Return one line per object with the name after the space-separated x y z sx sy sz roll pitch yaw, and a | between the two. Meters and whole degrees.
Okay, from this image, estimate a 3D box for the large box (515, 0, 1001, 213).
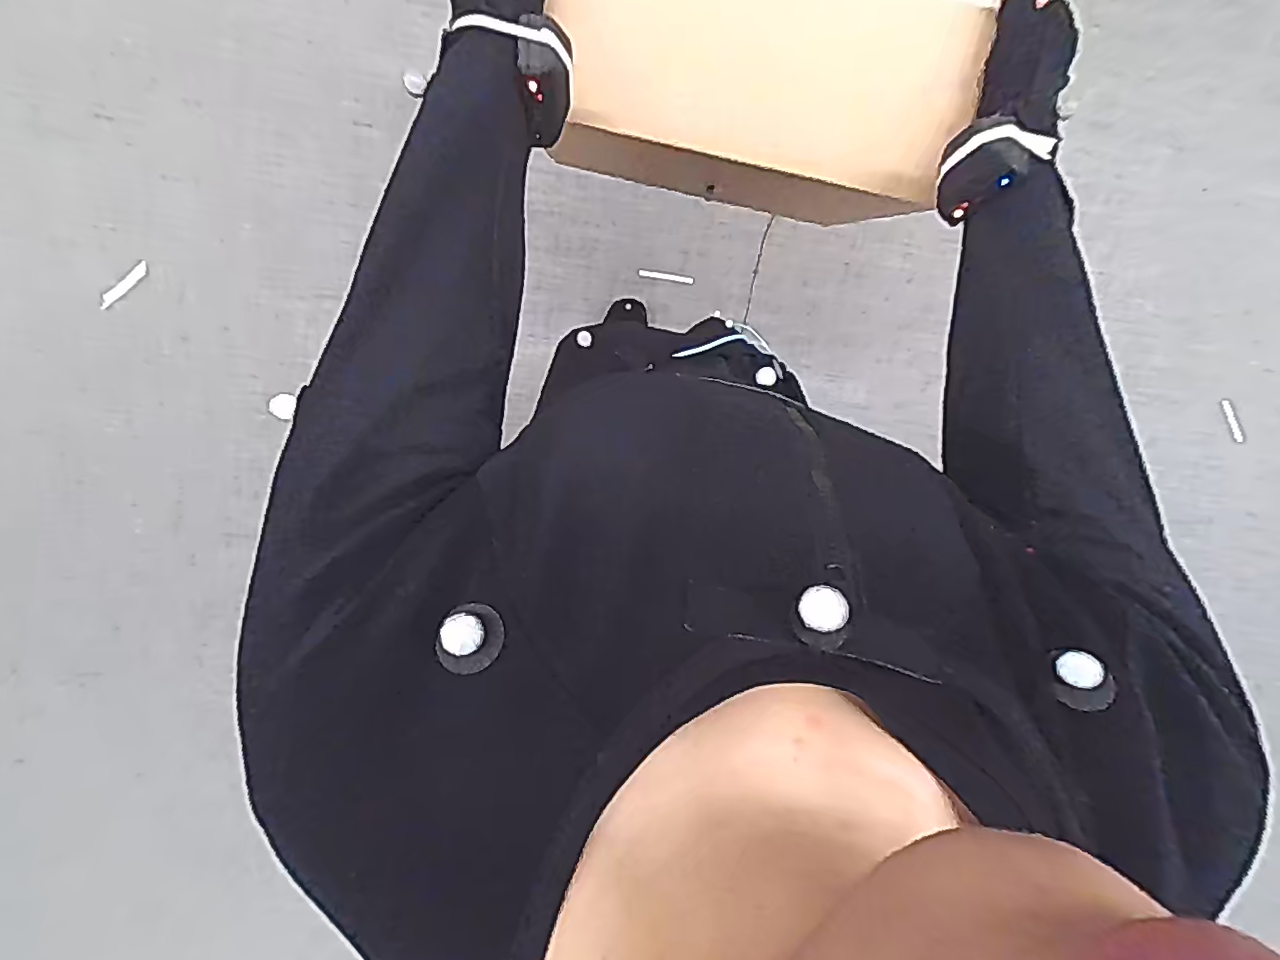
0.111 -0.498 0.576 0.408 0.320 0.320 11 111 -6 | large box
